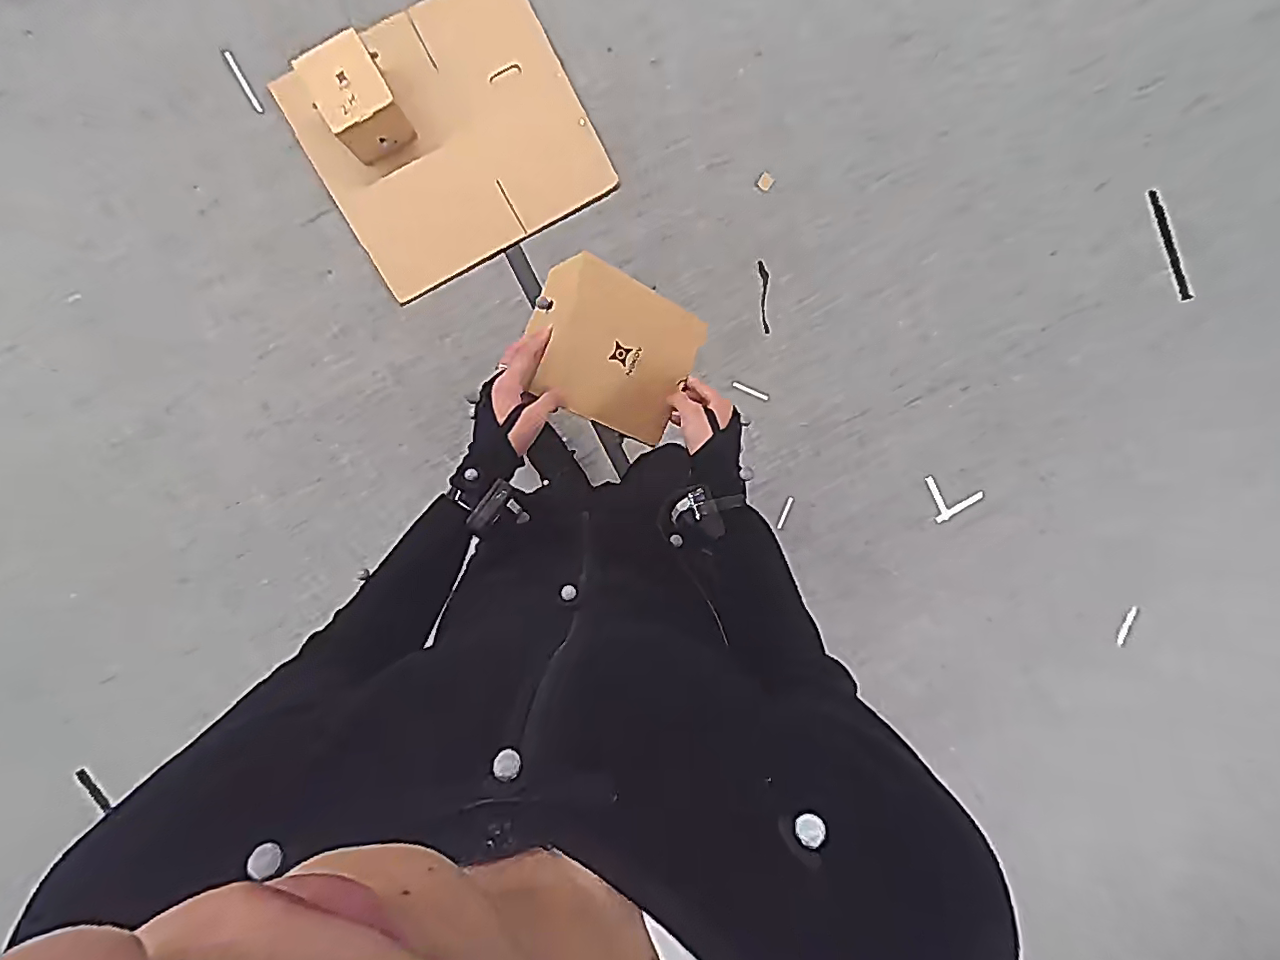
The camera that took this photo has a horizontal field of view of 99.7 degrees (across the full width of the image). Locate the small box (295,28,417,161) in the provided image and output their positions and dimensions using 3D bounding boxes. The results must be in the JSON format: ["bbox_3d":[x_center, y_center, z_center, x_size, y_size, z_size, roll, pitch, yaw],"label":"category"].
[{"bbox_3d":[-0.682,-0.928,1.319,0.168,0.176,0.179,-29,101,0],"label":"small box"}]

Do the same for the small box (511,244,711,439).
[{"bbox_3d":[-0.047,-0.169,0.687,0.179,0.176,0.168,21,96,-26],"label":"small box"}]
